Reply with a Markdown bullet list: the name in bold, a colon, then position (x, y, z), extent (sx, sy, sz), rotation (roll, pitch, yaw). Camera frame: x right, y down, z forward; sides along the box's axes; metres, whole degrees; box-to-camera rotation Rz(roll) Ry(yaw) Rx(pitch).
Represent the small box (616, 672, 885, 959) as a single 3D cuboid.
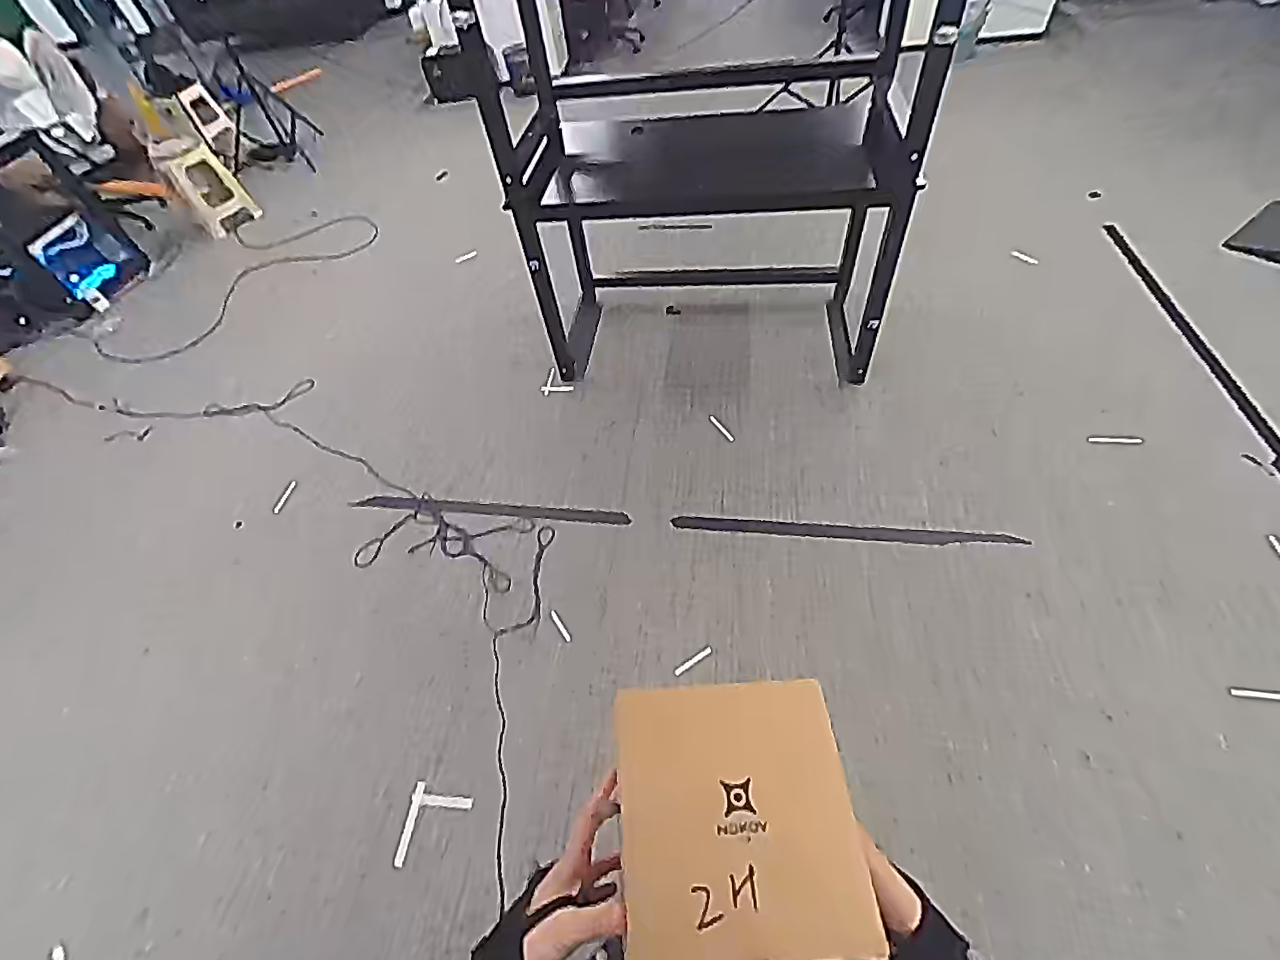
- **small box**: position (0.065, 0.275, 0.447), extent (0.168, 0.176, 0.179), rotation (-3, 54, -4)
